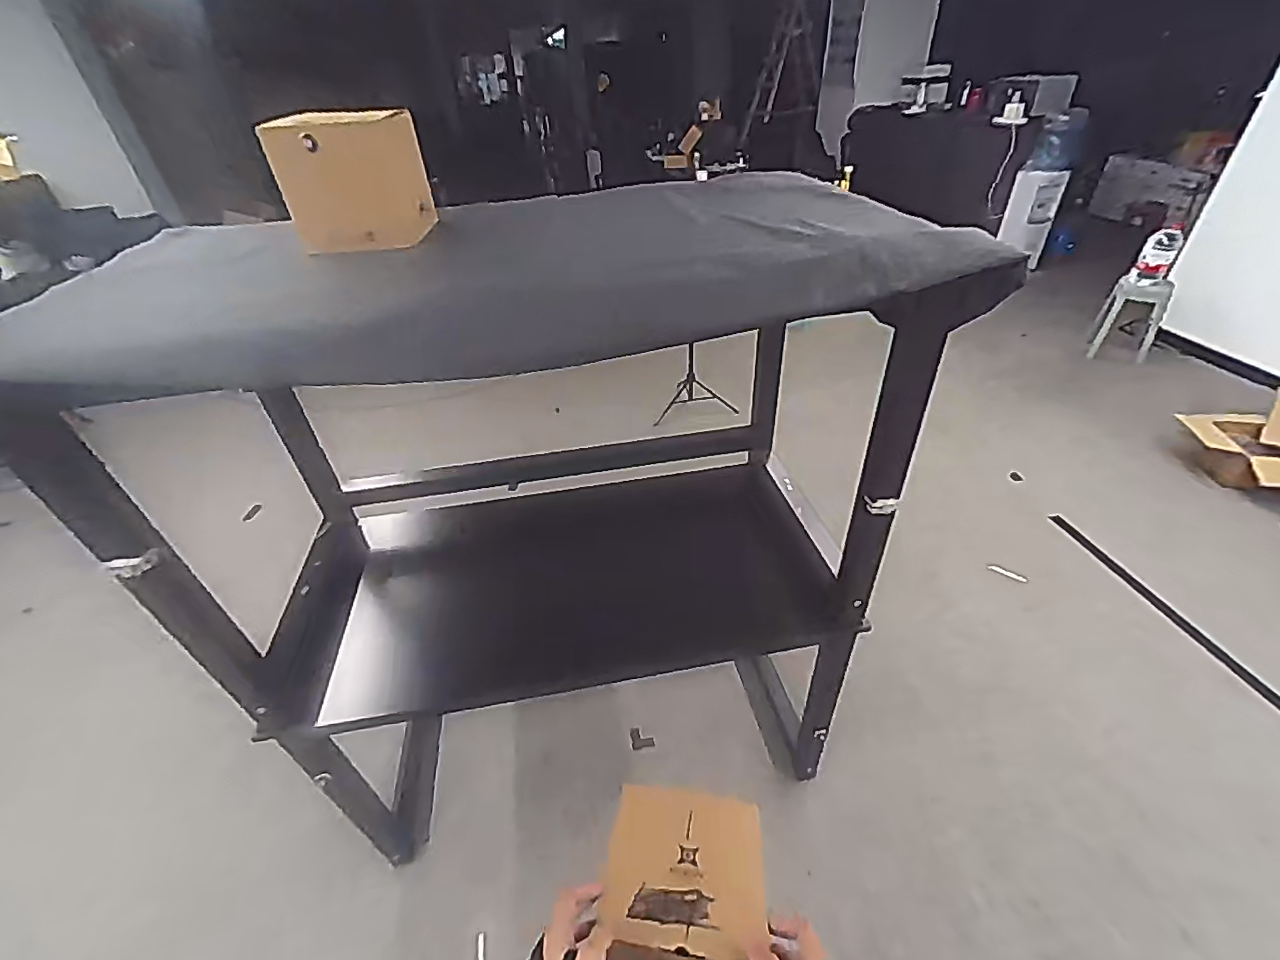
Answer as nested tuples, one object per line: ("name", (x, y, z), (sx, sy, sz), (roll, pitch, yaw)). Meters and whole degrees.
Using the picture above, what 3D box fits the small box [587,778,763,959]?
("small box", (0.041, 0.478, 0.600), (0.168, 0.176, 0.179), (6, 18, 7))

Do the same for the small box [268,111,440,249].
("small box", (-0.428, -0.471, 0.847), (0.168, 0.176, 0.179), (-5, 37, -2))
